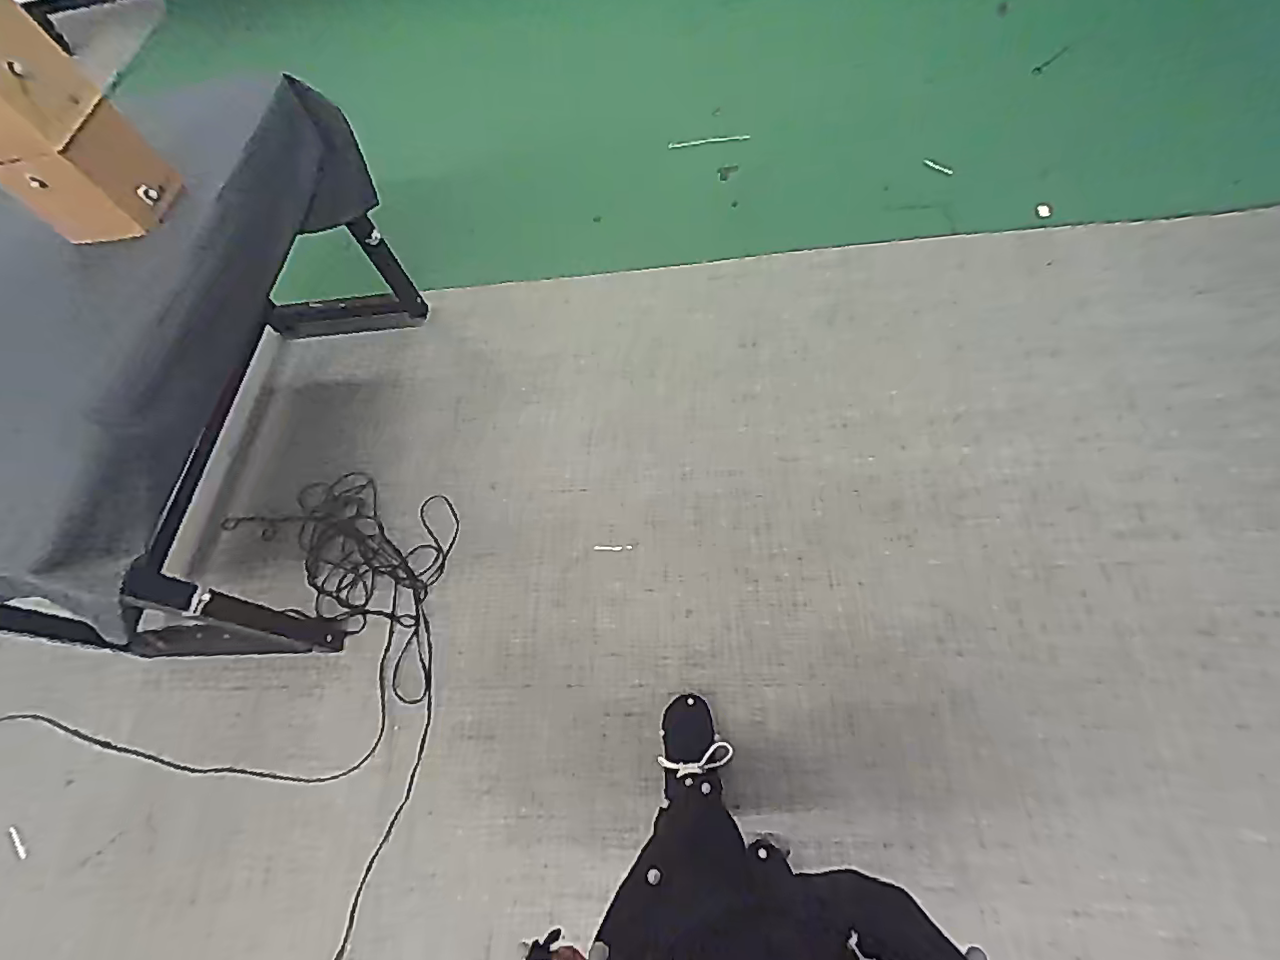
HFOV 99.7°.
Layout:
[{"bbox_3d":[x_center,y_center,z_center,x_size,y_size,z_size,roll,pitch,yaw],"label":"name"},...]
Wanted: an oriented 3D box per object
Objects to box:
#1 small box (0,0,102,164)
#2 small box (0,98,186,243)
[{"bbox_3d":[-1.033,-0.634,0.857,0.179,0.176,0.168,-4,64,9],"label":"small box"},{"bbox_3d":[-1.017,-0.565,1.004,0.179,0.176,0.168,-2,64,7],"label":"small box"}]
